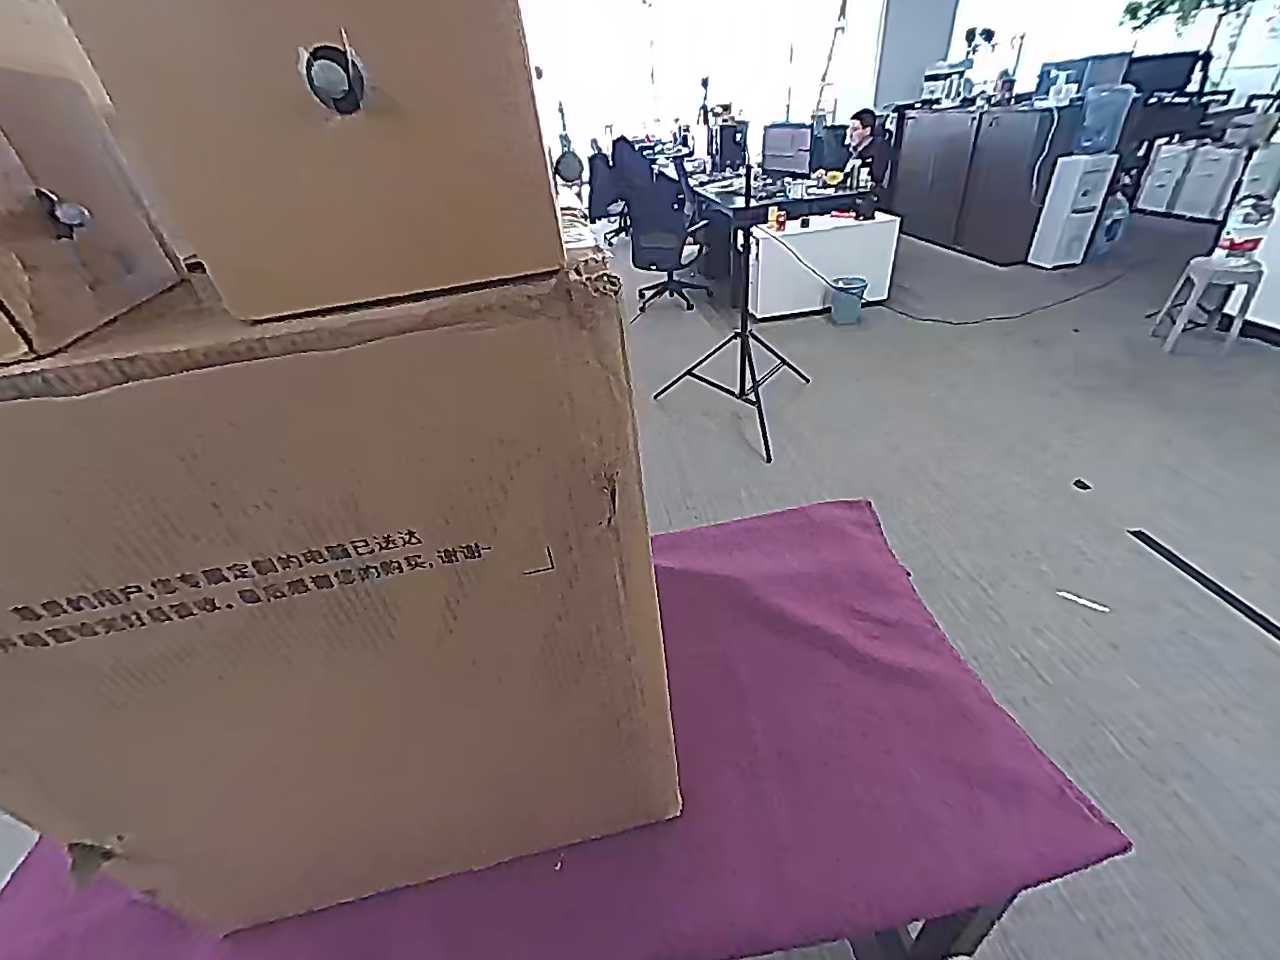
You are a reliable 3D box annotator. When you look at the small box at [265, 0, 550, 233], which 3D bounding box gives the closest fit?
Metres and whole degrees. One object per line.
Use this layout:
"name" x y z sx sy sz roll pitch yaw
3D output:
"small box" -0.176 -0.322 0.466 0.168 0.176 0.179 -10 35 -3
